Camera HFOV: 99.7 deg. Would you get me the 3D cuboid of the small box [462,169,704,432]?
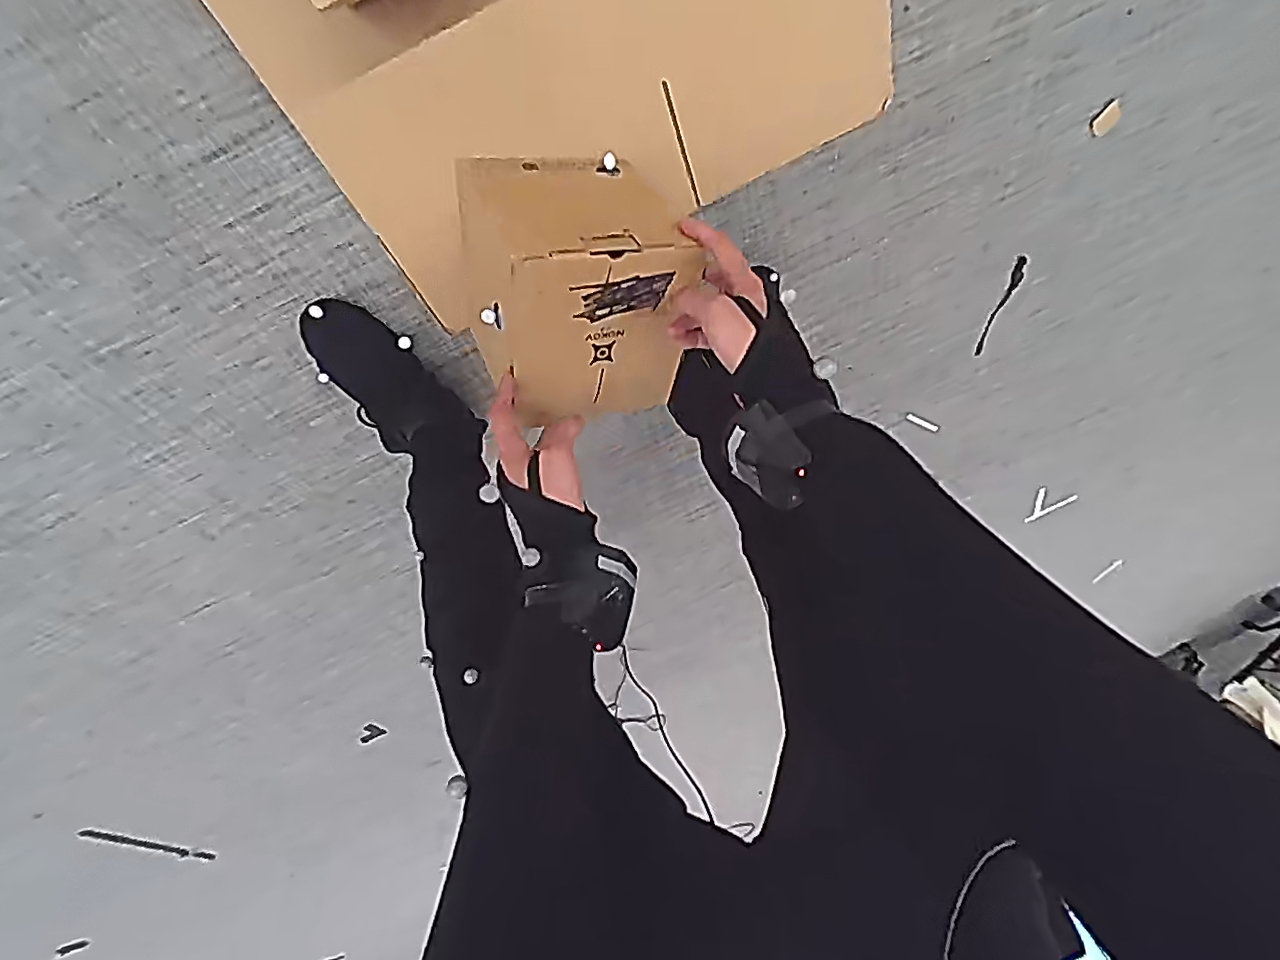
[{"bbox_3d":[-0.065,-0.178,0.519,0.168,0.176,0.179,-14,144,-22],"label":"small box"}]
